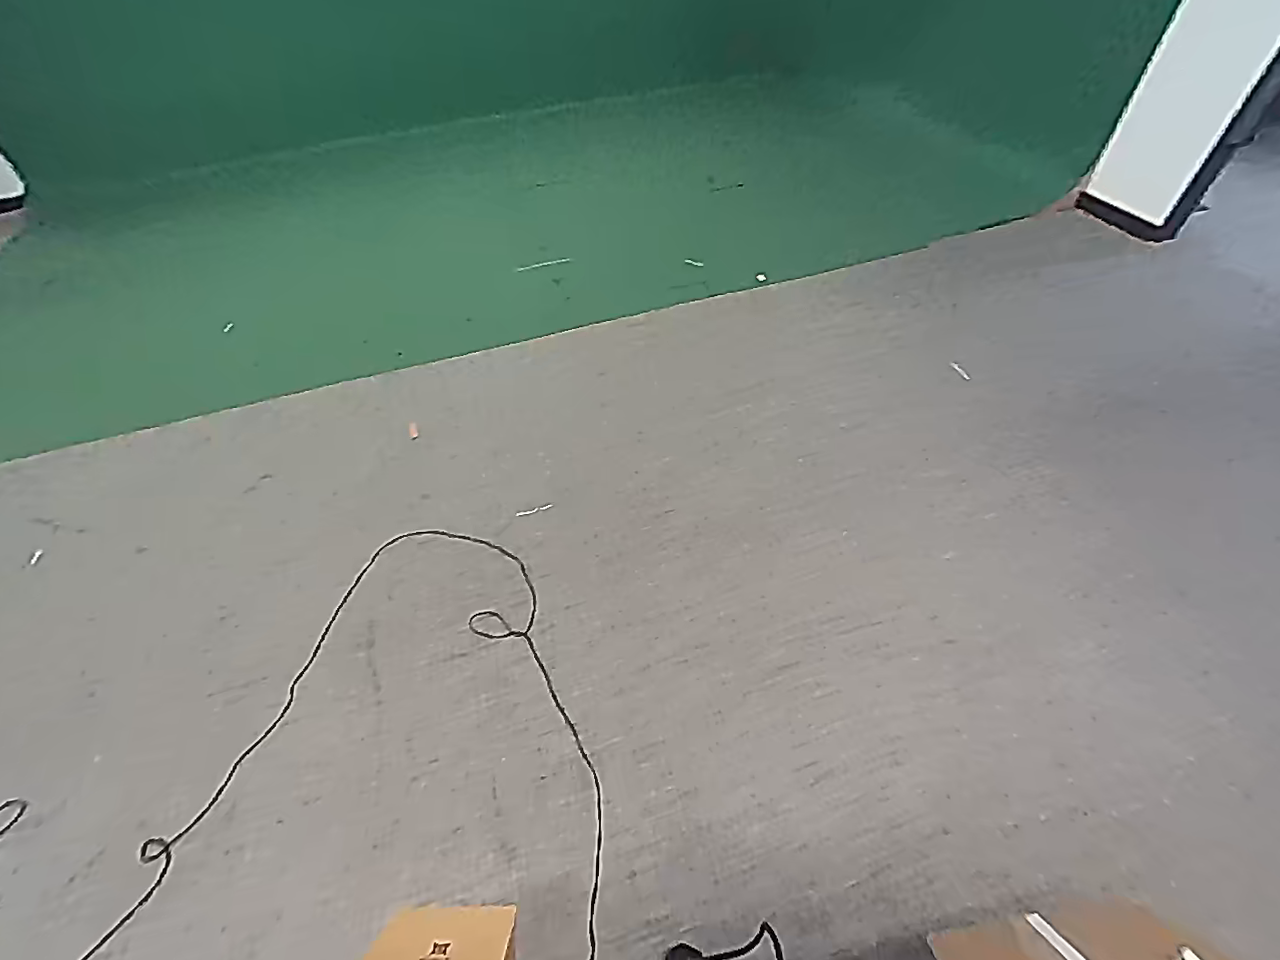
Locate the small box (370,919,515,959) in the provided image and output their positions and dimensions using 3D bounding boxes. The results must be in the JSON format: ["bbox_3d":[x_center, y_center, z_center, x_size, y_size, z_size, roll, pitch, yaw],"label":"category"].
[{"bbox_3d":[-0.247,0.664,0.637,0.168,0.179,0.176,1,79,-4],"label":"small box"}]
